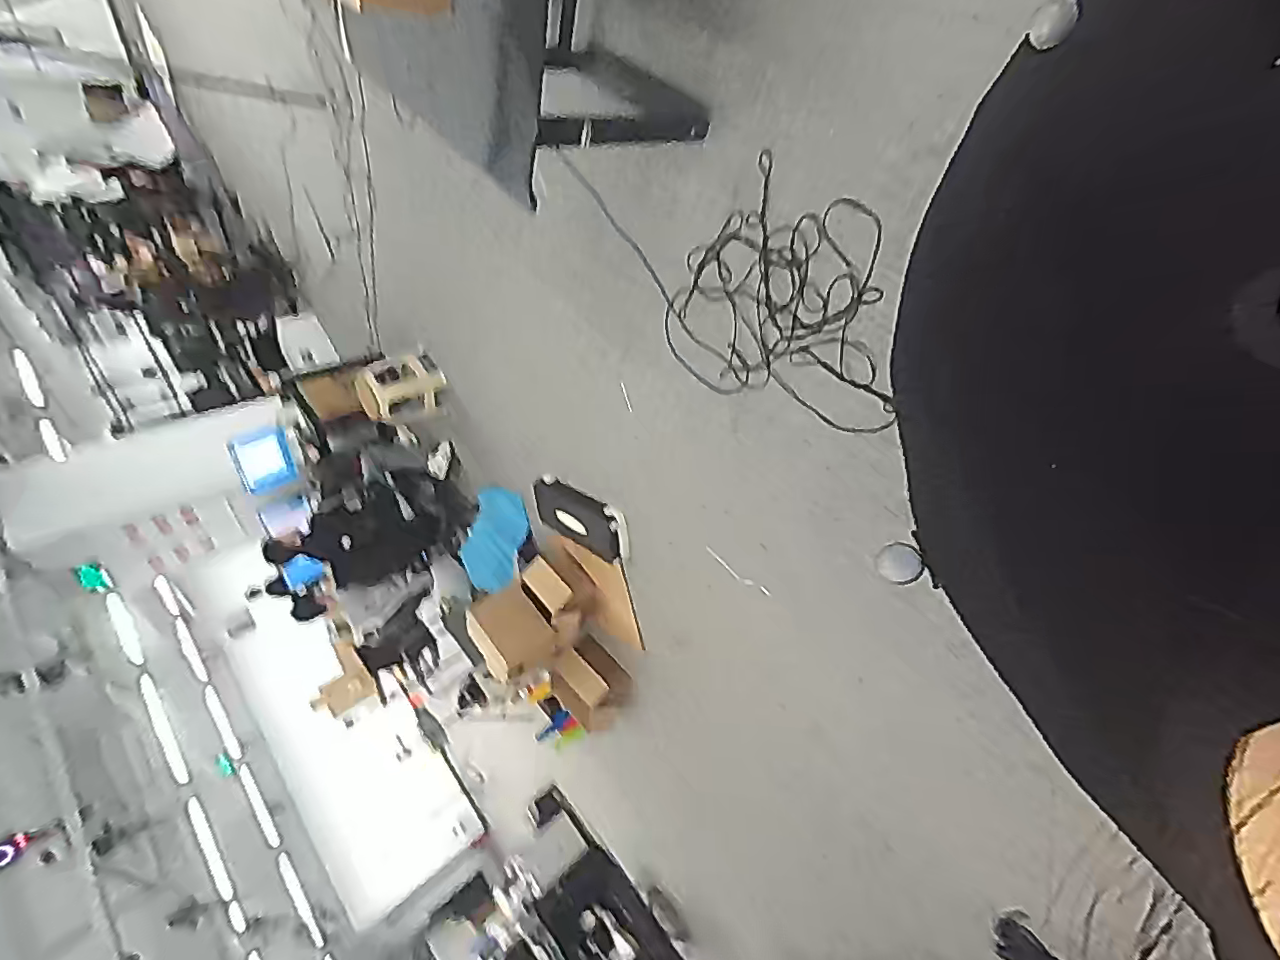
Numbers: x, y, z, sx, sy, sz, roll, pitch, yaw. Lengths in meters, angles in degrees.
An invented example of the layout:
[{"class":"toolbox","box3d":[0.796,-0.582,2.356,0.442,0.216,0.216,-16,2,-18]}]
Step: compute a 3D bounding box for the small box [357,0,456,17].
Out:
[{"class":"small box","box3d":[-0.425,-0.922,0.912,0.168,0.176,0.179,46,142,24]}]
